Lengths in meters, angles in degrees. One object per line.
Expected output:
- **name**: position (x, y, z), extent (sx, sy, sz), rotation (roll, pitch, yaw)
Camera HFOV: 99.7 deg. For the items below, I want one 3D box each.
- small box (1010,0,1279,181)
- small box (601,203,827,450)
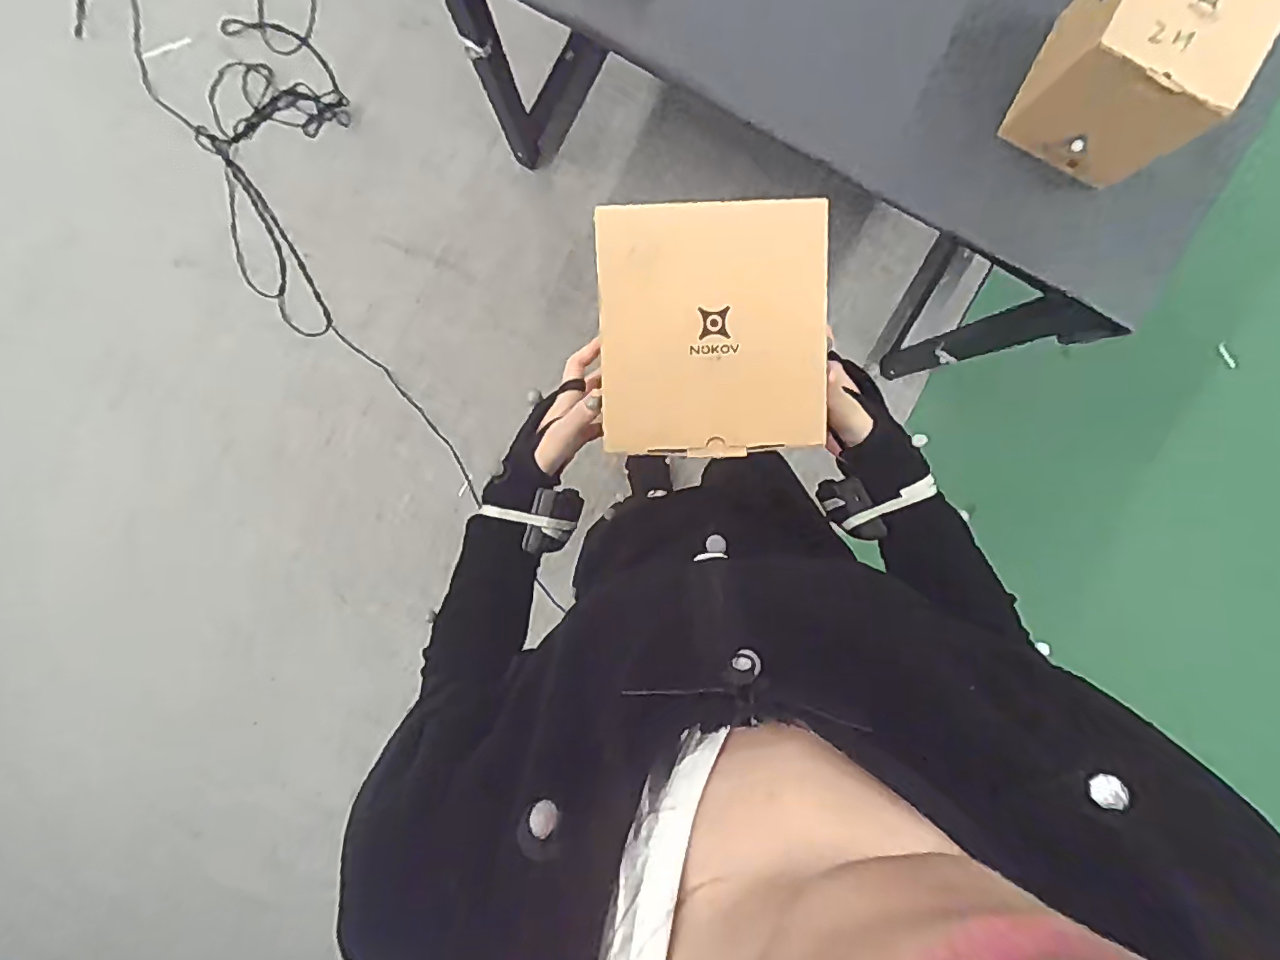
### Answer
- **small box**: position (0.595, -0.507, 0.645), extent (0.168, 0.176, 0.179), rotation (27, 93, 0)
- **small box**: position (0.053, -0.119, 0.474), extent (0.168, 0.176, 0.179), rotation (-2, 97, 0)
